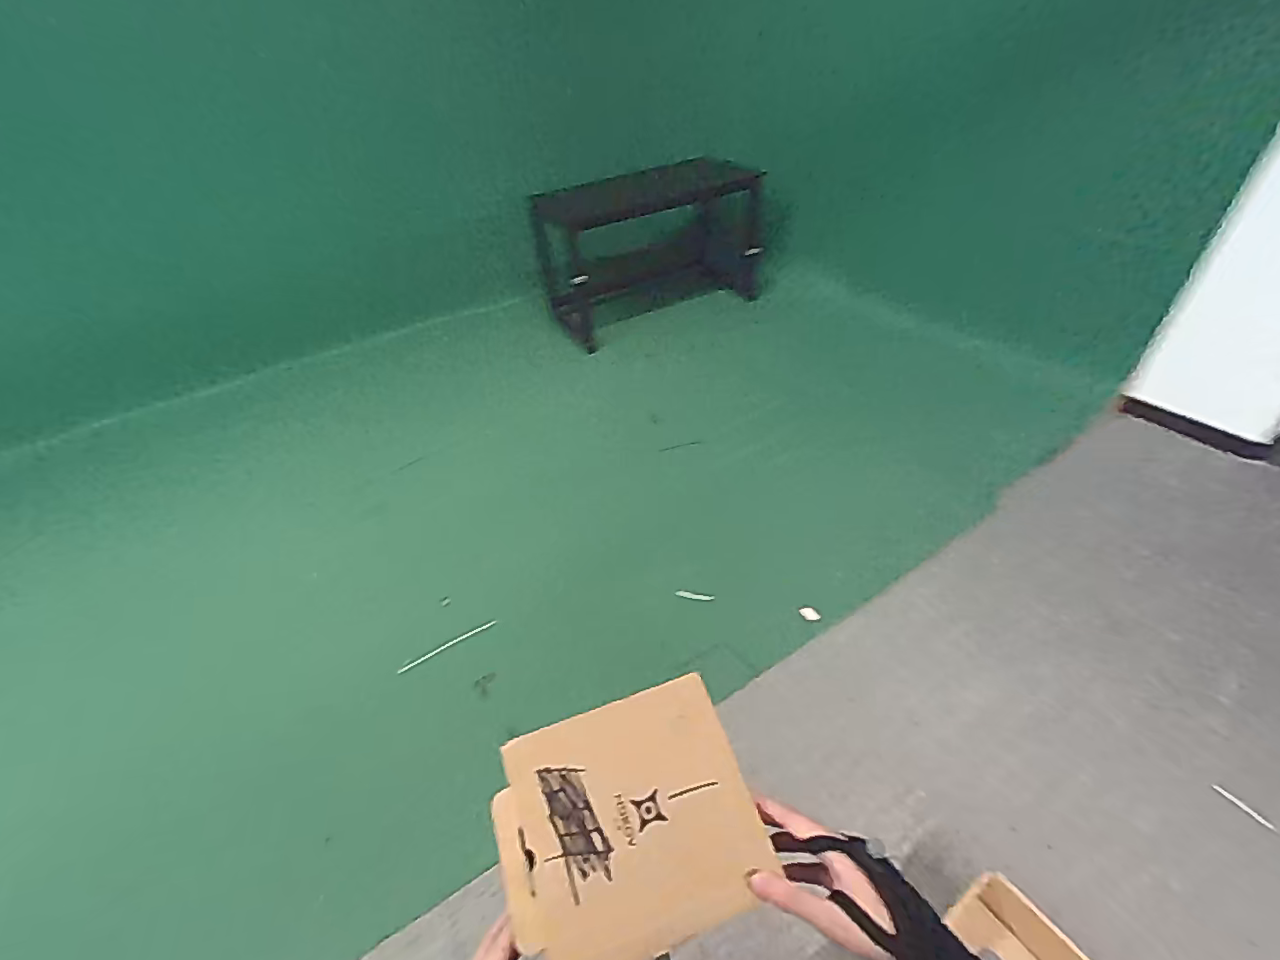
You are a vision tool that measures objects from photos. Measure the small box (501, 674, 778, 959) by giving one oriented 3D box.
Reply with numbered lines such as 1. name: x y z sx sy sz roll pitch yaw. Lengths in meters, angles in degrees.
1. small box: -0.006 0.304 0.481 0.179 0.176 0.168 -17 56 -13
